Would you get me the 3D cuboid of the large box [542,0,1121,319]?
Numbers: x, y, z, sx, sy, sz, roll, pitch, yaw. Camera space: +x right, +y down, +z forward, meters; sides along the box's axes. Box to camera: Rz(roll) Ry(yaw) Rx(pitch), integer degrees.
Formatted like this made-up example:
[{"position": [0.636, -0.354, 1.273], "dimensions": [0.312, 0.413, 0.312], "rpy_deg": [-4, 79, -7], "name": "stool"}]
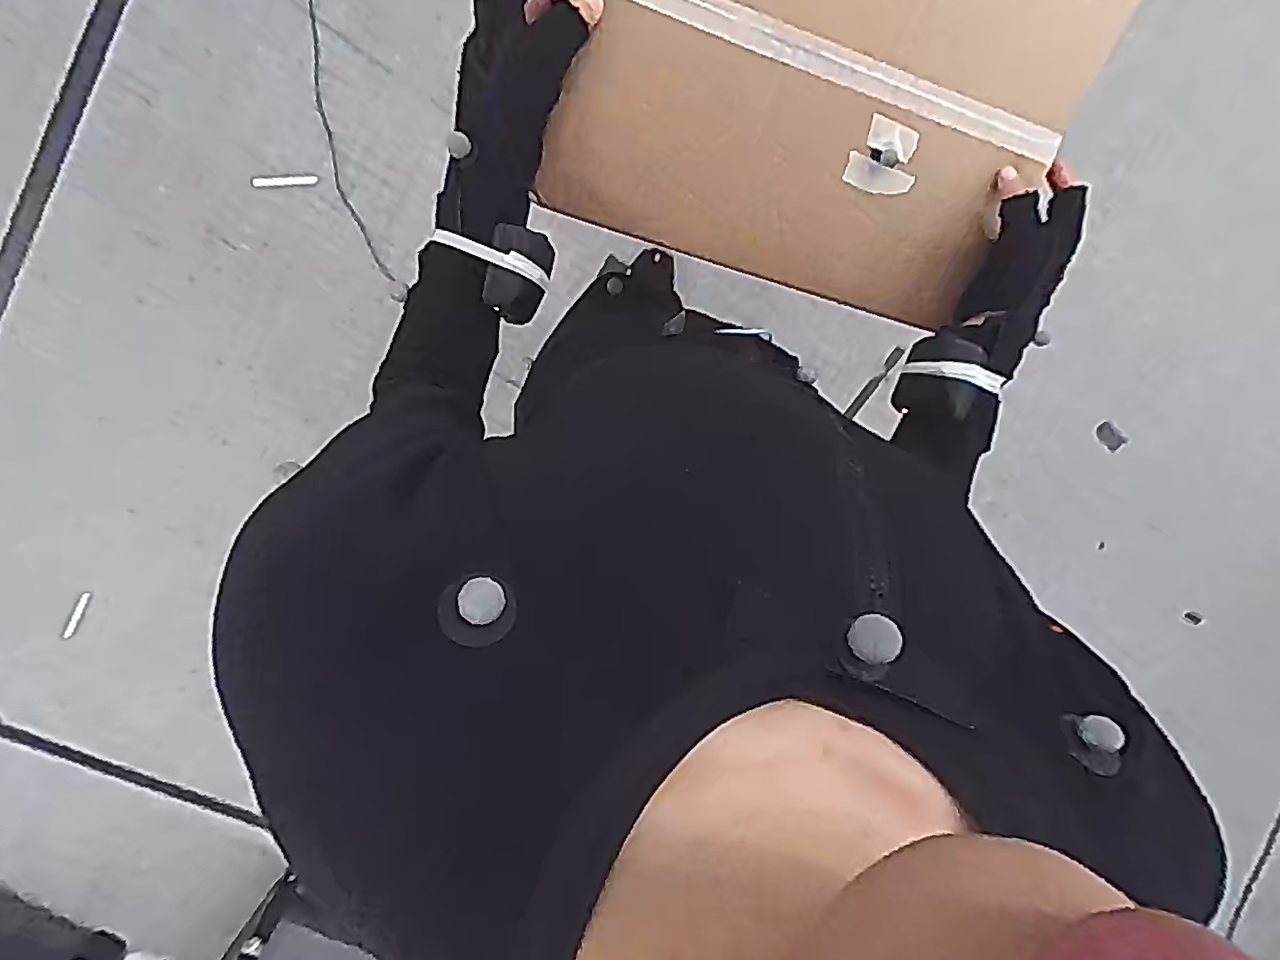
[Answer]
[{"position": [0.136, -0.398, 0.548], "dimensions": [0.408, 0.320, 0.320], "rpy_deg": [13, 119, -12], "name": "large box"}]
